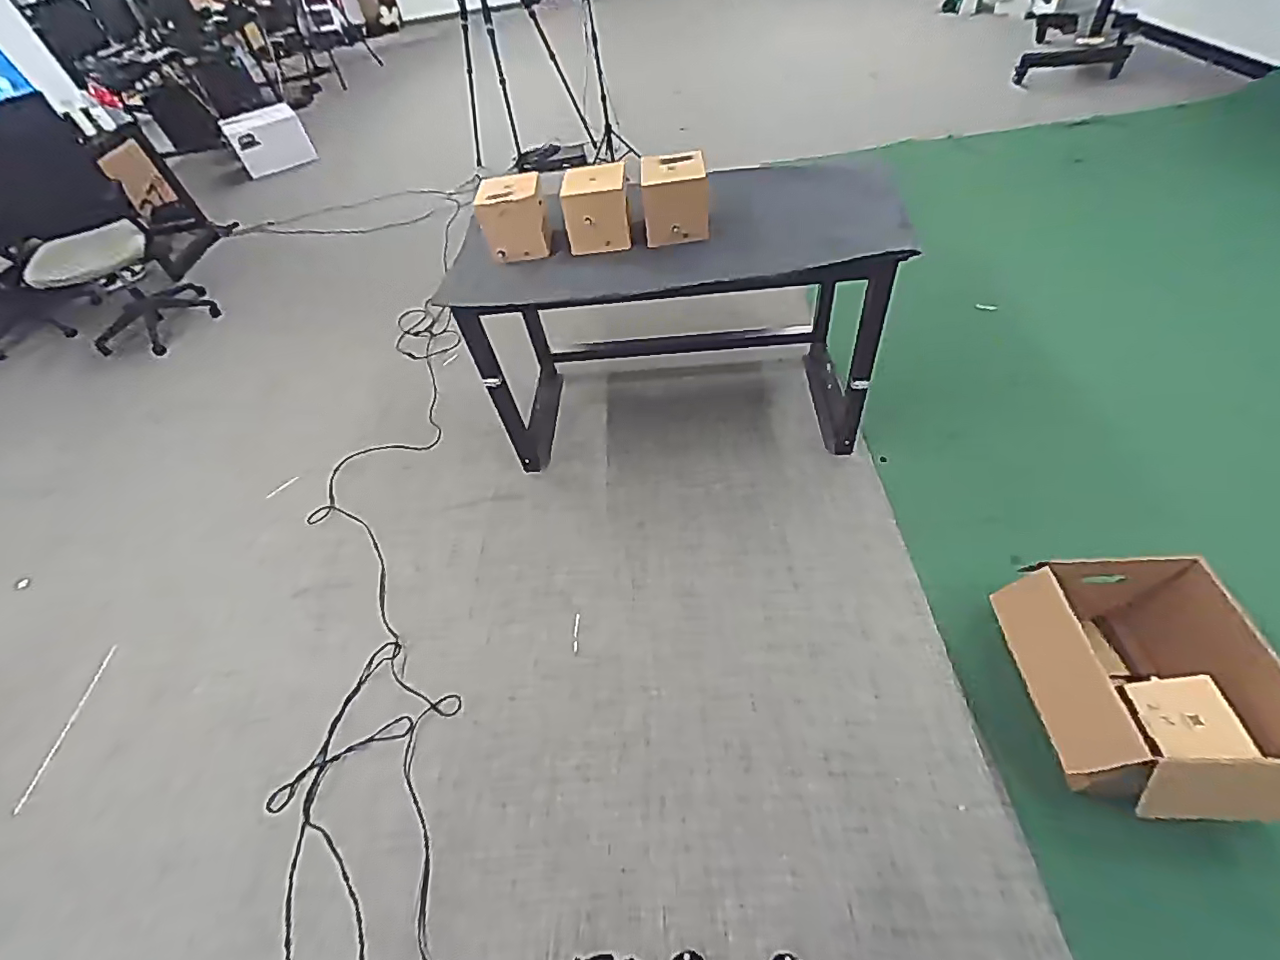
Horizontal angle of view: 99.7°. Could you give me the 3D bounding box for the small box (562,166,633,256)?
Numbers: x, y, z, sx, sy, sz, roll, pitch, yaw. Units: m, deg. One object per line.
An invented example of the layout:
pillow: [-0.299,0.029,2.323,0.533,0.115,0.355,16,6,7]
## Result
small box: [-0.111,-0.742,1.507,0.168,0.176,0.179,-4,49,6]

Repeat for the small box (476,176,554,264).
small box: [-0.345,-0.730,1.534,0.168,0.176,0.179,-7,49,4]
